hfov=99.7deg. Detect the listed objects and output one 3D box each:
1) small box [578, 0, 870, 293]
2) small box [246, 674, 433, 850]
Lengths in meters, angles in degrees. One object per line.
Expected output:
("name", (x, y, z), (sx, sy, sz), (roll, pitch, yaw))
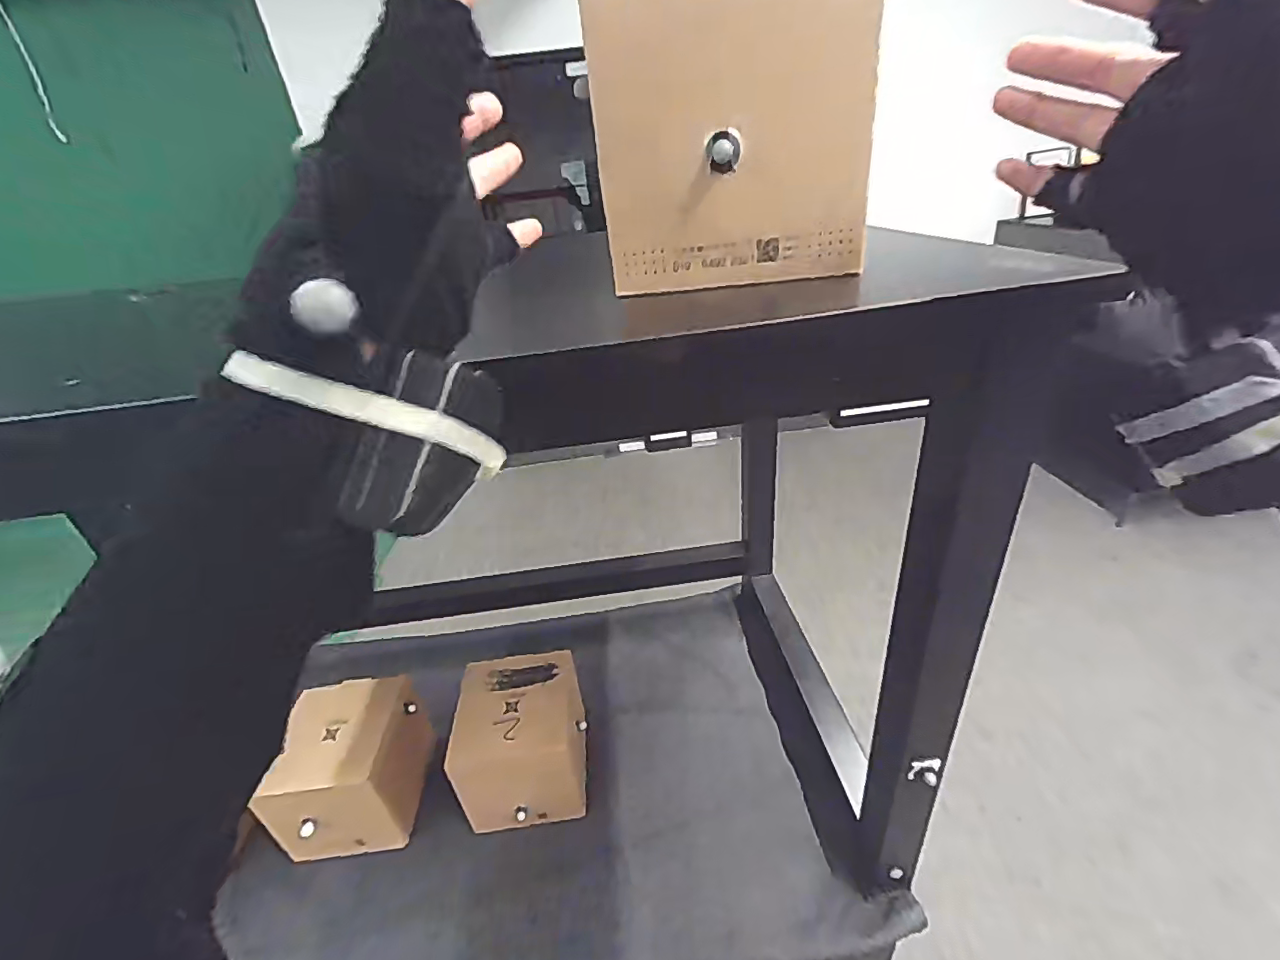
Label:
("small box", (0.063, -0.240, 0.400), (0.168, 0.176, 0.179), (-2, 30, 8))
("small box", (-0.433, 0.427, 0.817), (0.168, 0.176, 0.179), (-7, 29, -1))
